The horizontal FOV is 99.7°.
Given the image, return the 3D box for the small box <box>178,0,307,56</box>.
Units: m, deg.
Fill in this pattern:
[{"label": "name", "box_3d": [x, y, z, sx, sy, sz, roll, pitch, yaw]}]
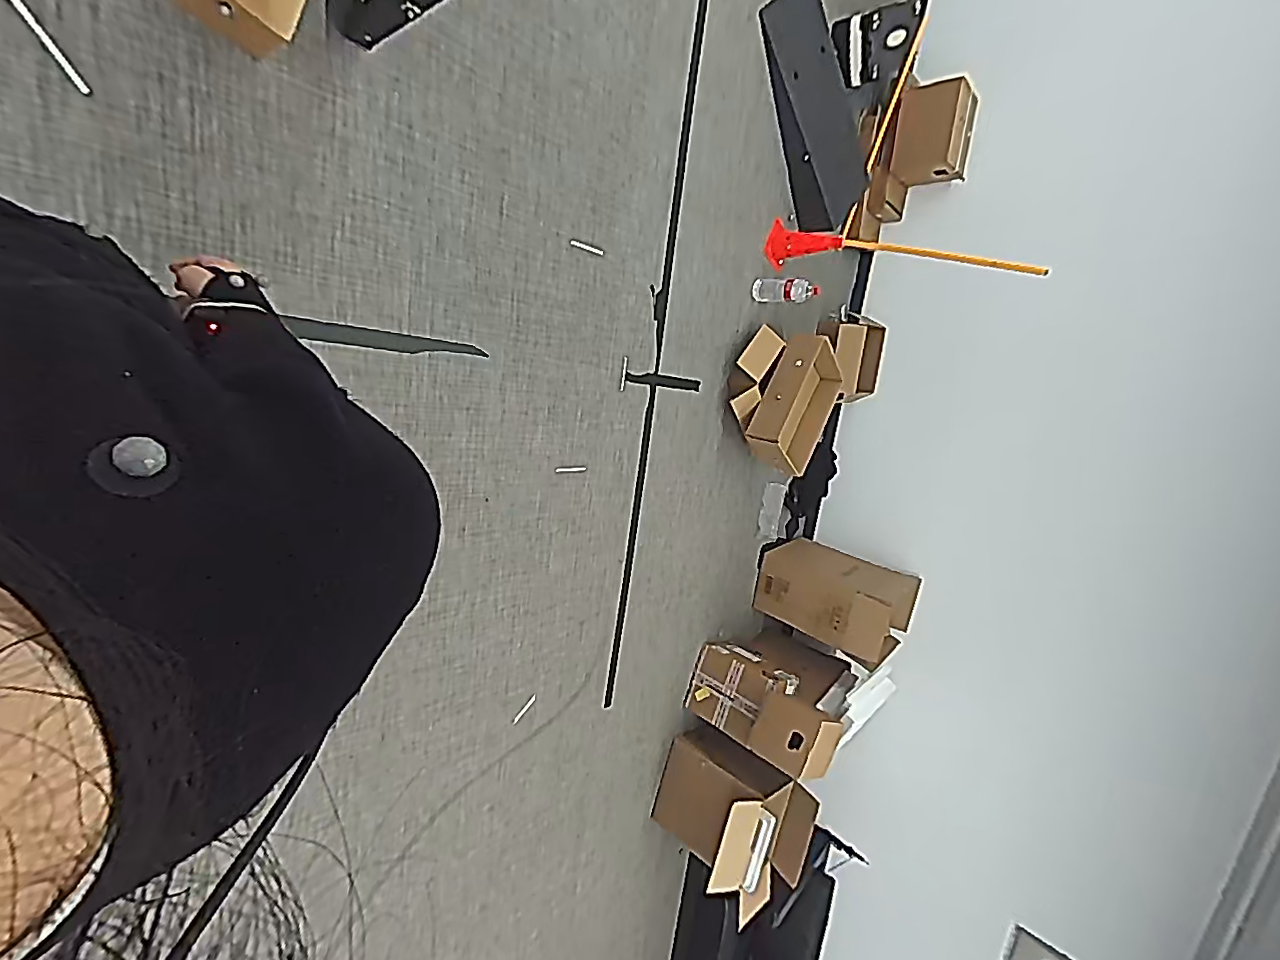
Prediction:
[{"label": "small box", "box_3d": [-0.759, -0.956, 1.029, 0.179, 0.176, 0.168, 21, 89, -49]}]
